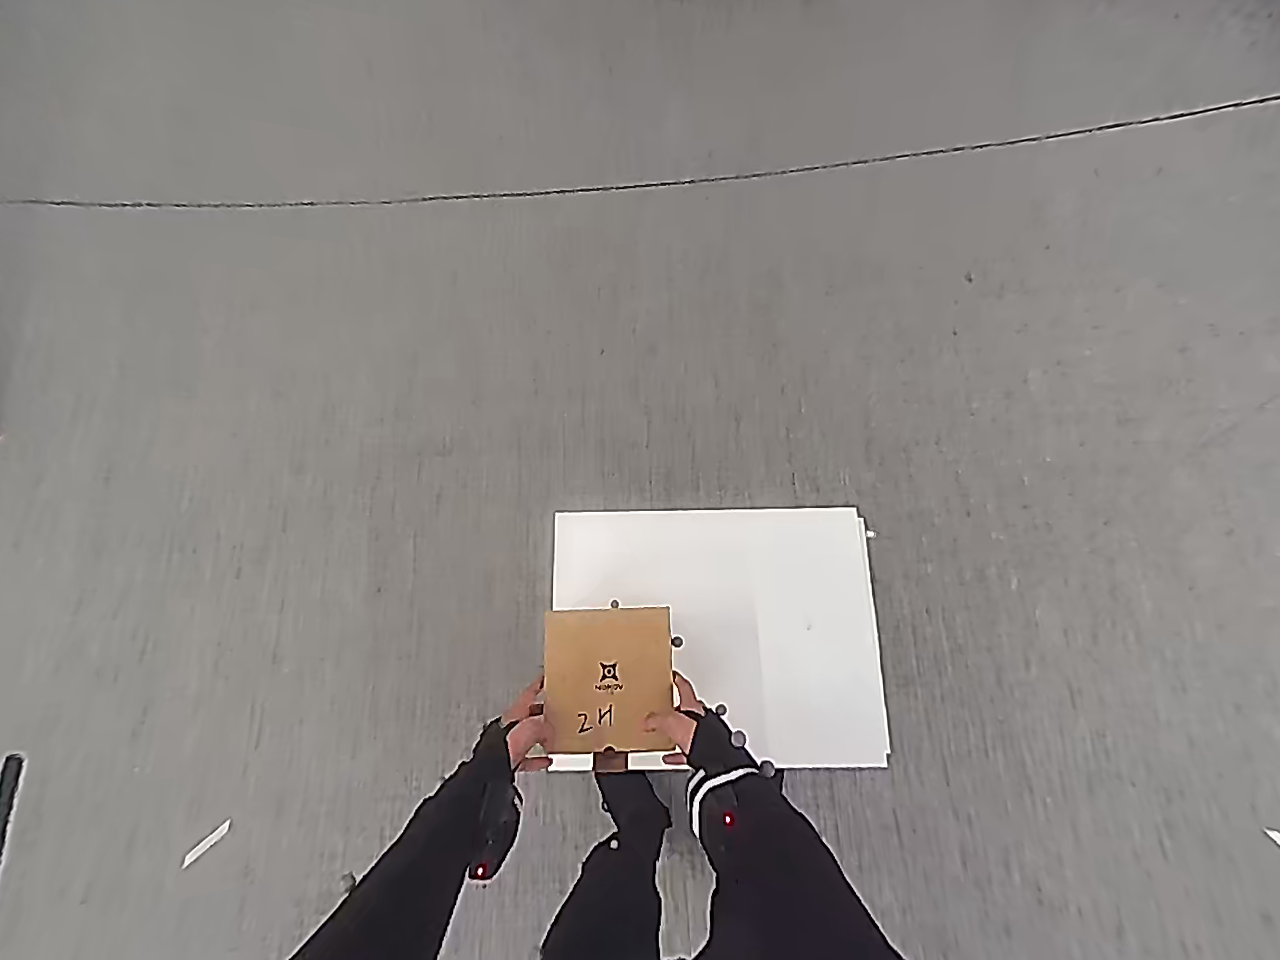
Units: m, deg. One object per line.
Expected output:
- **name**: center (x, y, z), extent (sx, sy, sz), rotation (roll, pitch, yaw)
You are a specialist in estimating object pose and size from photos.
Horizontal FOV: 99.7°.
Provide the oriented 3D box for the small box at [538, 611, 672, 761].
- **small box**: center (-0.043, 0.277, 0.752), extent (0.168, 0.176, 0.179), rotation (-2, 75, 1)
